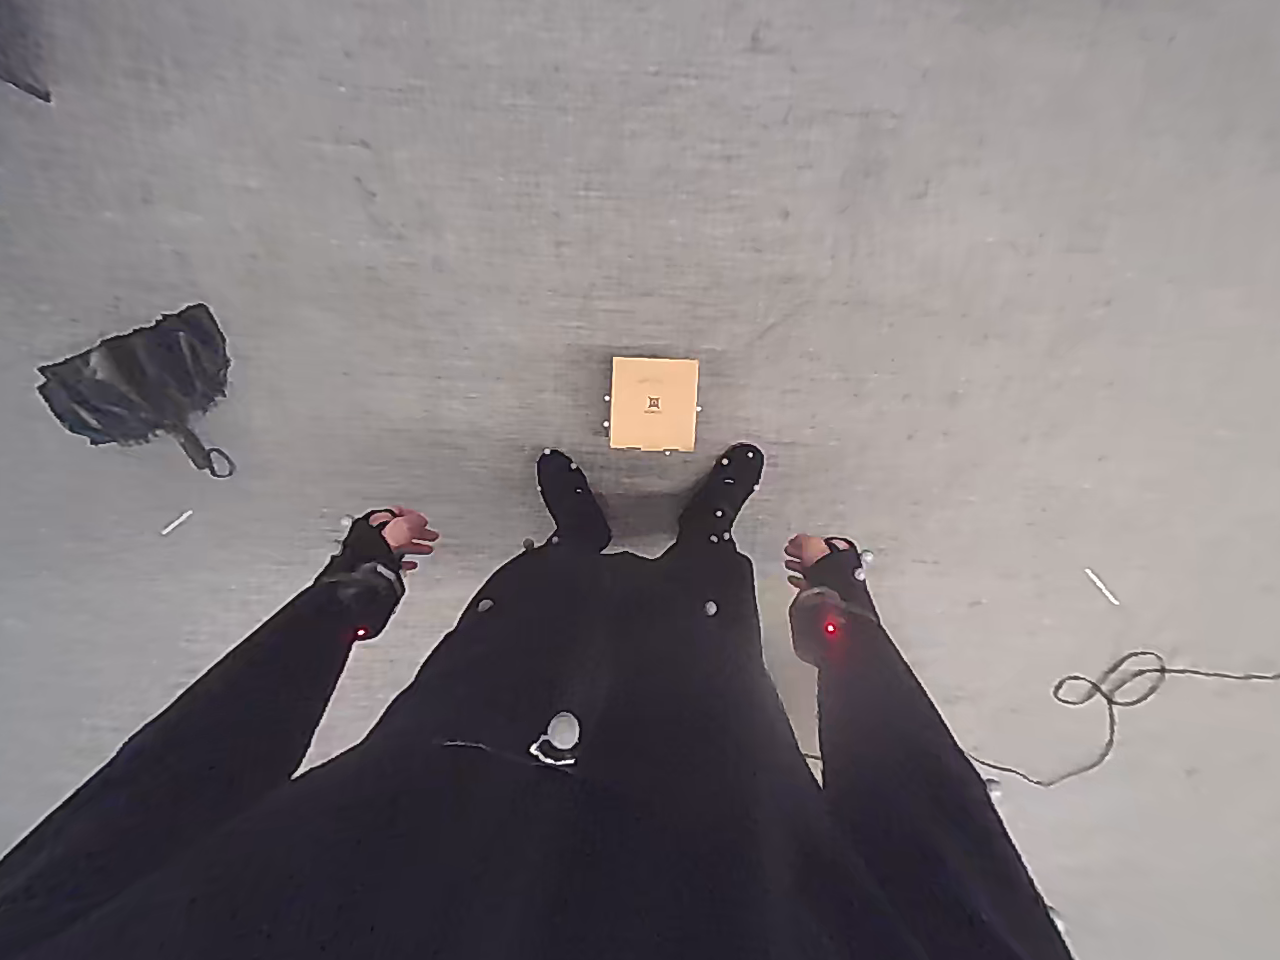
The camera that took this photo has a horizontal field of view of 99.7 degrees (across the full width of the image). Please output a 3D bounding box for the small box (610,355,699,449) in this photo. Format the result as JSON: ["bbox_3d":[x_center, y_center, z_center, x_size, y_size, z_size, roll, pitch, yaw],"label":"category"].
[{"bbox_3d":[0.027,-0.160,1.111,0.168,0.176,0.179,1,97,-2],"label":"small box"}]
